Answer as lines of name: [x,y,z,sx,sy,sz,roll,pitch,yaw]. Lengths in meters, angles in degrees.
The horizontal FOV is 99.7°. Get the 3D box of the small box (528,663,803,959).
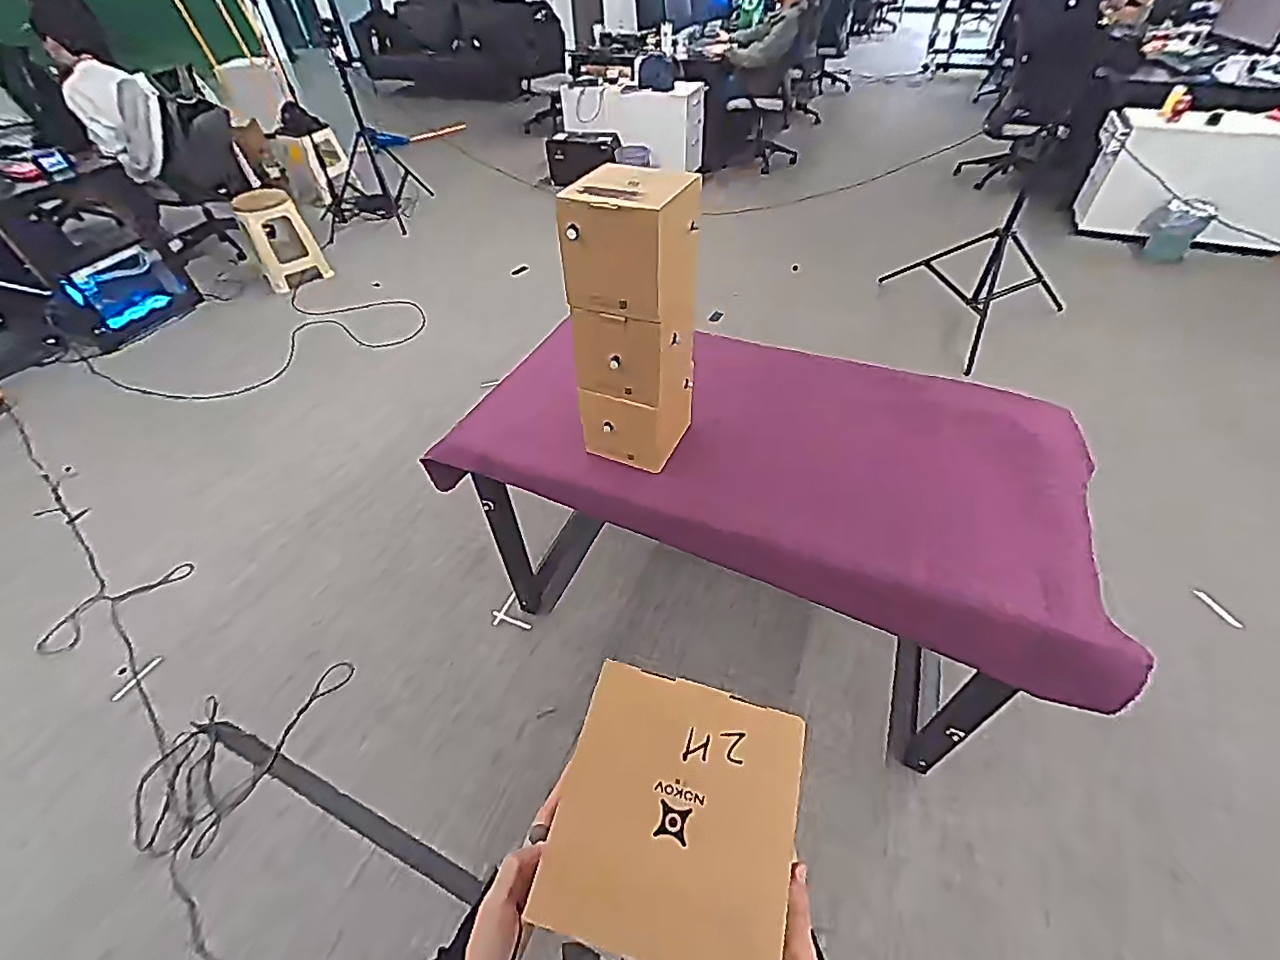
small box: [0.025,0.284,0.452,0.168,0.176,0.179,14,54,7]

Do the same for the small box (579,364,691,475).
small box: [-0.004,-0.137,1.098,0.168,0.176,0.179,18,49,18]

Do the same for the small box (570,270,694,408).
small box: [-0.007,-0.256,0.985,0.168,0.176,0.179,16,49,16]
